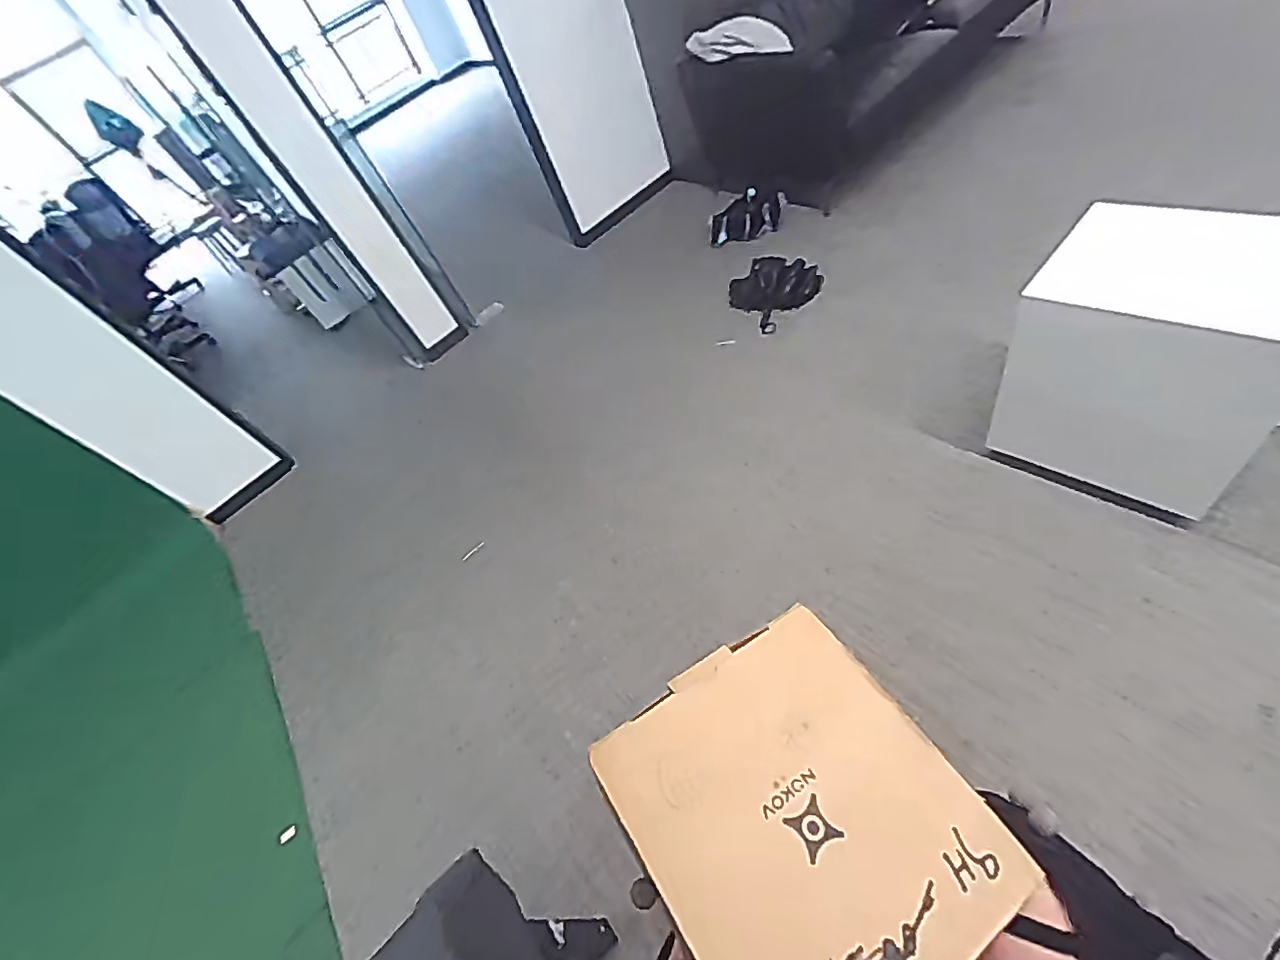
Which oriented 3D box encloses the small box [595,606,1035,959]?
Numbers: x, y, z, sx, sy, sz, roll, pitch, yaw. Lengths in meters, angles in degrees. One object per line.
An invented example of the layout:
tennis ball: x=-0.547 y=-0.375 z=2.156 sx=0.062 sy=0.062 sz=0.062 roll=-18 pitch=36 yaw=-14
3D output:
small box: x=0.085 y=0.222 z=0.351 sx=0.168 sy=0.176 sz=0.179 roll=-27 pitch=57 yaw=-19
